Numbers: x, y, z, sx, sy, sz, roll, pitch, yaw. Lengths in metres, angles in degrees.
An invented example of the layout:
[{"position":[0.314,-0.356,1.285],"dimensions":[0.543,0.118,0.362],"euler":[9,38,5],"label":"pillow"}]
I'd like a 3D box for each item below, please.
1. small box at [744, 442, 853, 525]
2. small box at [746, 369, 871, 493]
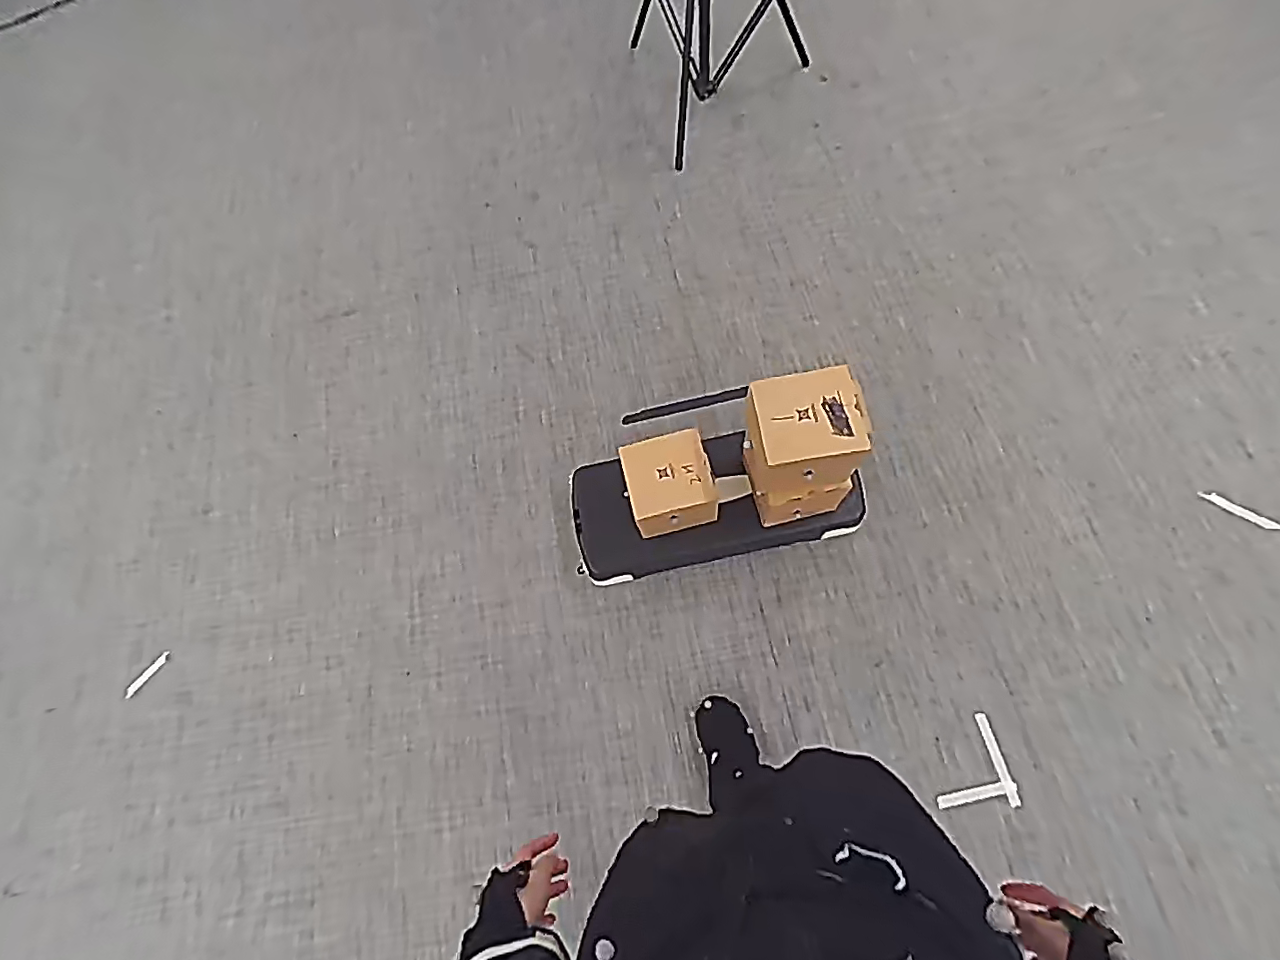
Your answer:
[{"position":[0.327,-0.019,1.159],"dimensions":[0.168,0.176,0.179],"euler":[-14,71,2],"label":"small box"},{"position":[0.302,-0.085,1.009],"dimensions":[0.179,0.176,0.168],"euler":[-9,71,4],"label":"small box"}]
